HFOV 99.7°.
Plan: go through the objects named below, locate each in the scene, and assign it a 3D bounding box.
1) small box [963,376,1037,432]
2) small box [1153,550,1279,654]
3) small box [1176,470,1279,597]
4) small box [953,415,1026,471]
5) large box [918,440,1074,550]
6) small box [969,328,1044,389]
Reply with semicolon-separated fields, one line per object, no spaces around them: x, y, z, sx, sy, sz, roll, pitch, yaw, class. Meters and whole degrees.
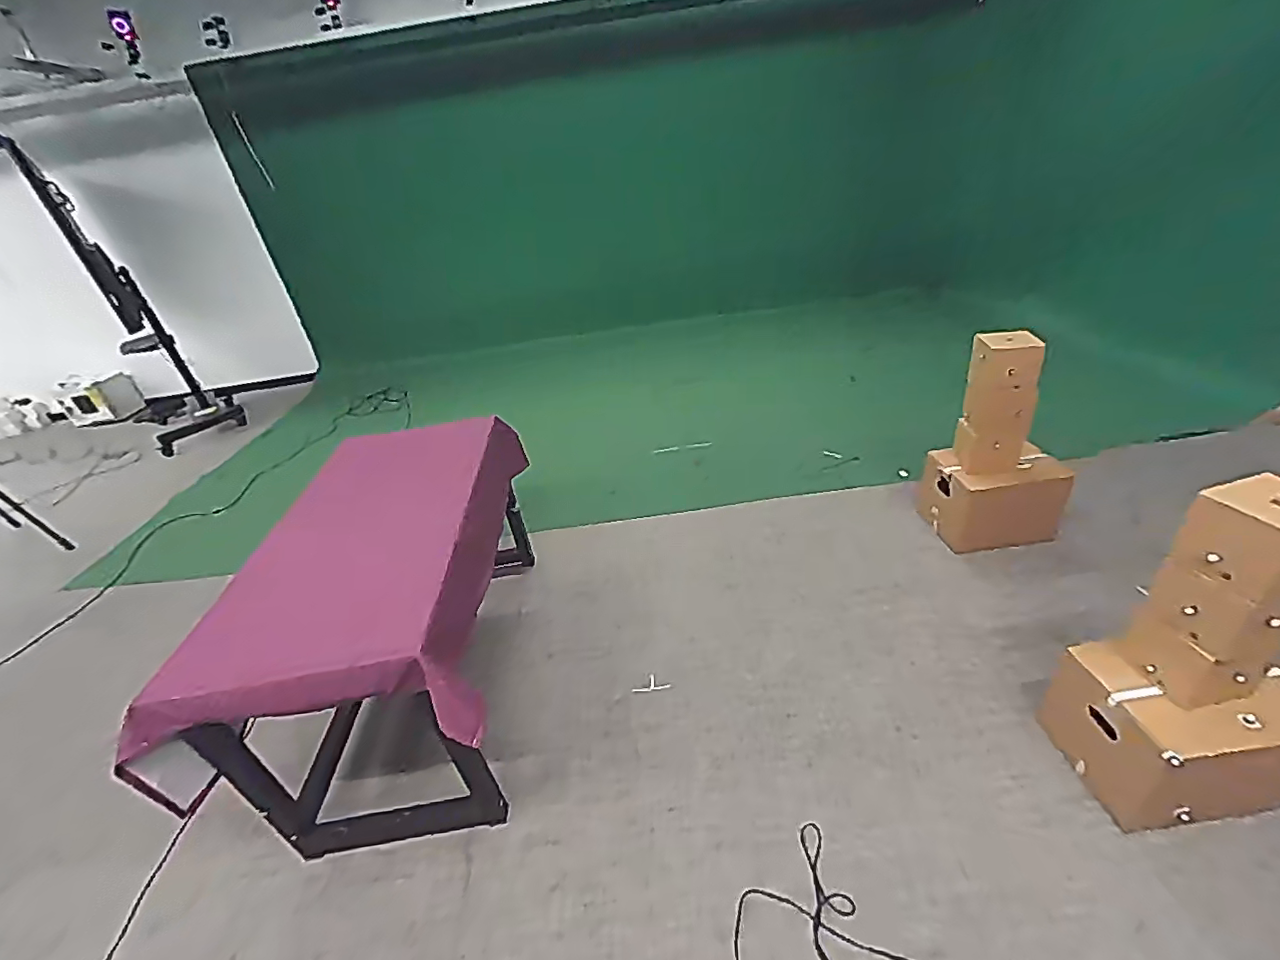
1.332;-0.289;2.015;0.179;0.176;0.168;-2;31;14;small box
1.269;0.247;1.167;0.179;0.176;0.168;-14;31;-6;small box
1.247;0.106;1.084;0.179;0.176;0.168;-14;30;-7;small box
1.346;-0.147;2.095;0.179;0.176;0.168;-3;31;10;small box
1.430;0.053;2.215;0.408;0.320;0.320;-8;32;0;large box
1.305;-0.432;1.939;0.168;0.176;0.179;-1;31;14;small box
